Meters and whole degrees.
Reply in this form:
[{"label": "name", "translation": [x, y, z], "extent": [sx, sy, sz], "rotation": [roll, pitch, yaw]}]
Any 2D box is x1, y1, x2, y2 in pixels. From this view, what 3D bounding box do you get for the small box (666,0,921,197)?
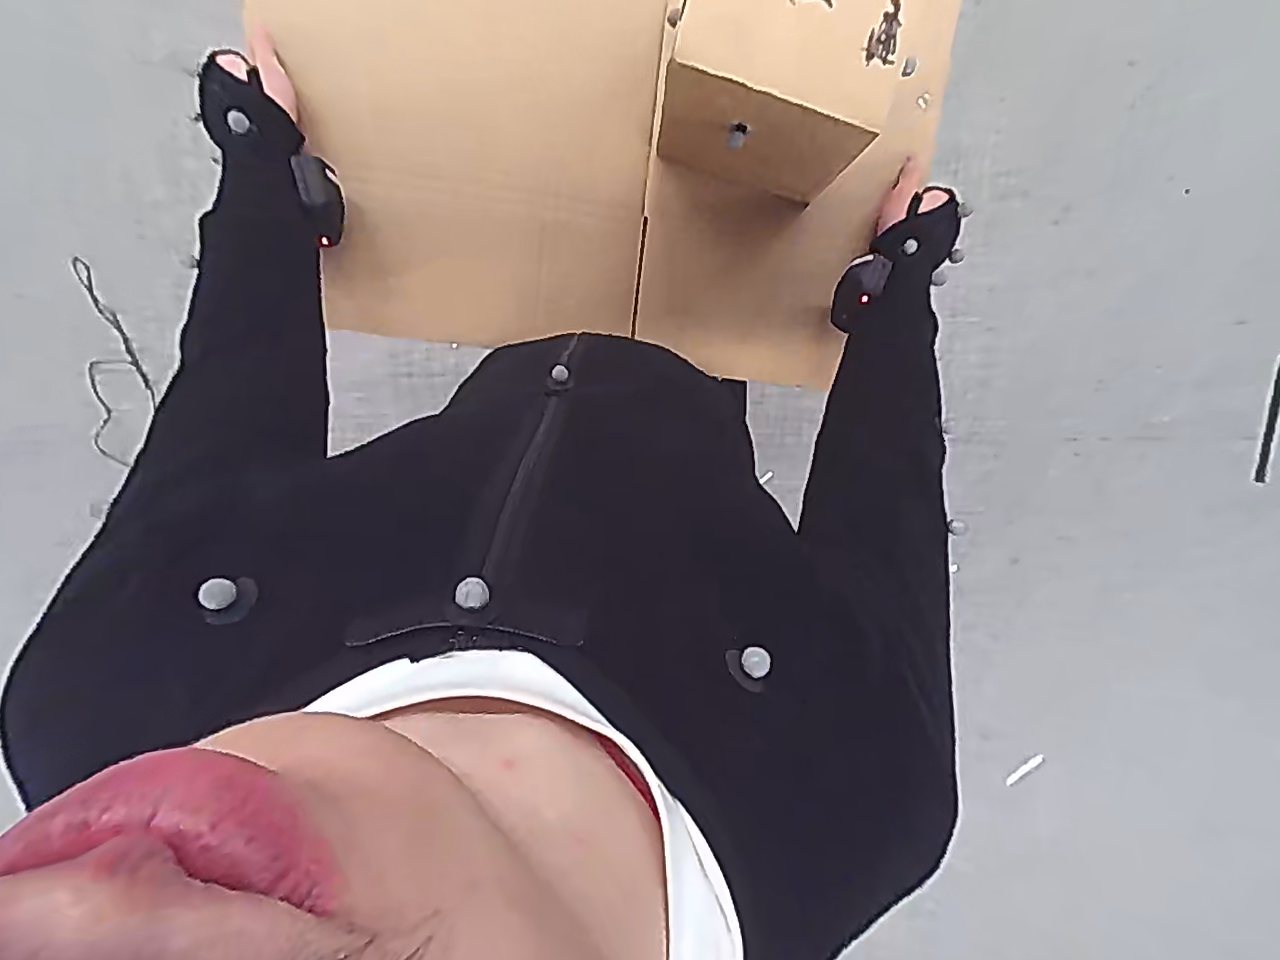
[{"label": "small box", "translation": [0.127, -0.386, 0.491], "extent": [0.179, 0.176, 0.168], "rotation": [16, 99, -3]}]
